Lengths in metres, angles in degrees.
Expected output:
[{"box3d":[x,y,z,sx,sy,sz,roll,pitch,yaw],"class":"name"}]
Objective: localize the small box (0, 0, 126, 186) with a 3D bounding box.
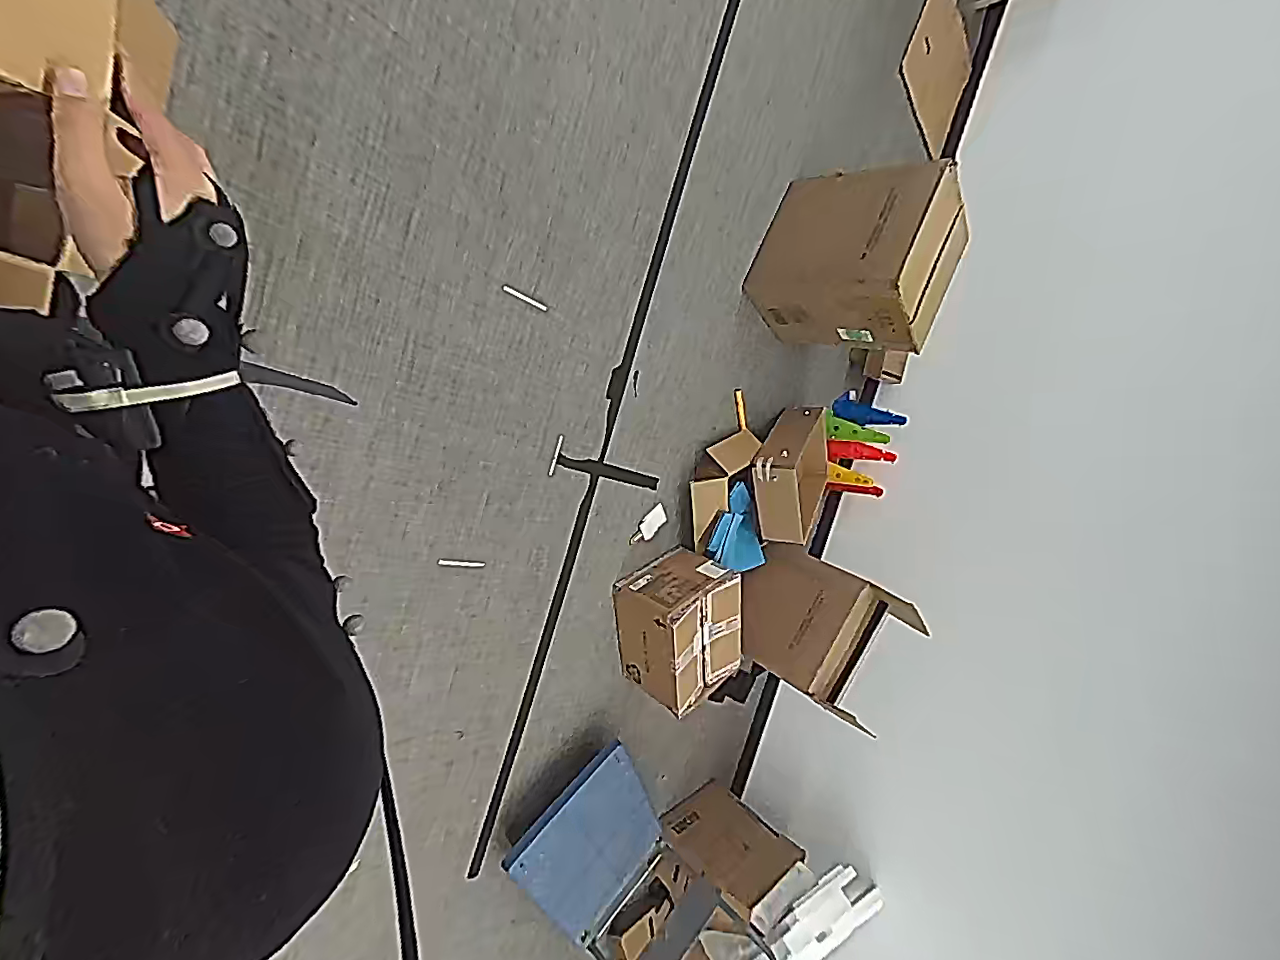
[{"box3d":[-0.384,-0.287,0.272,0.168,0.176,0.179,4,92,-51],"class":"small box"}]
